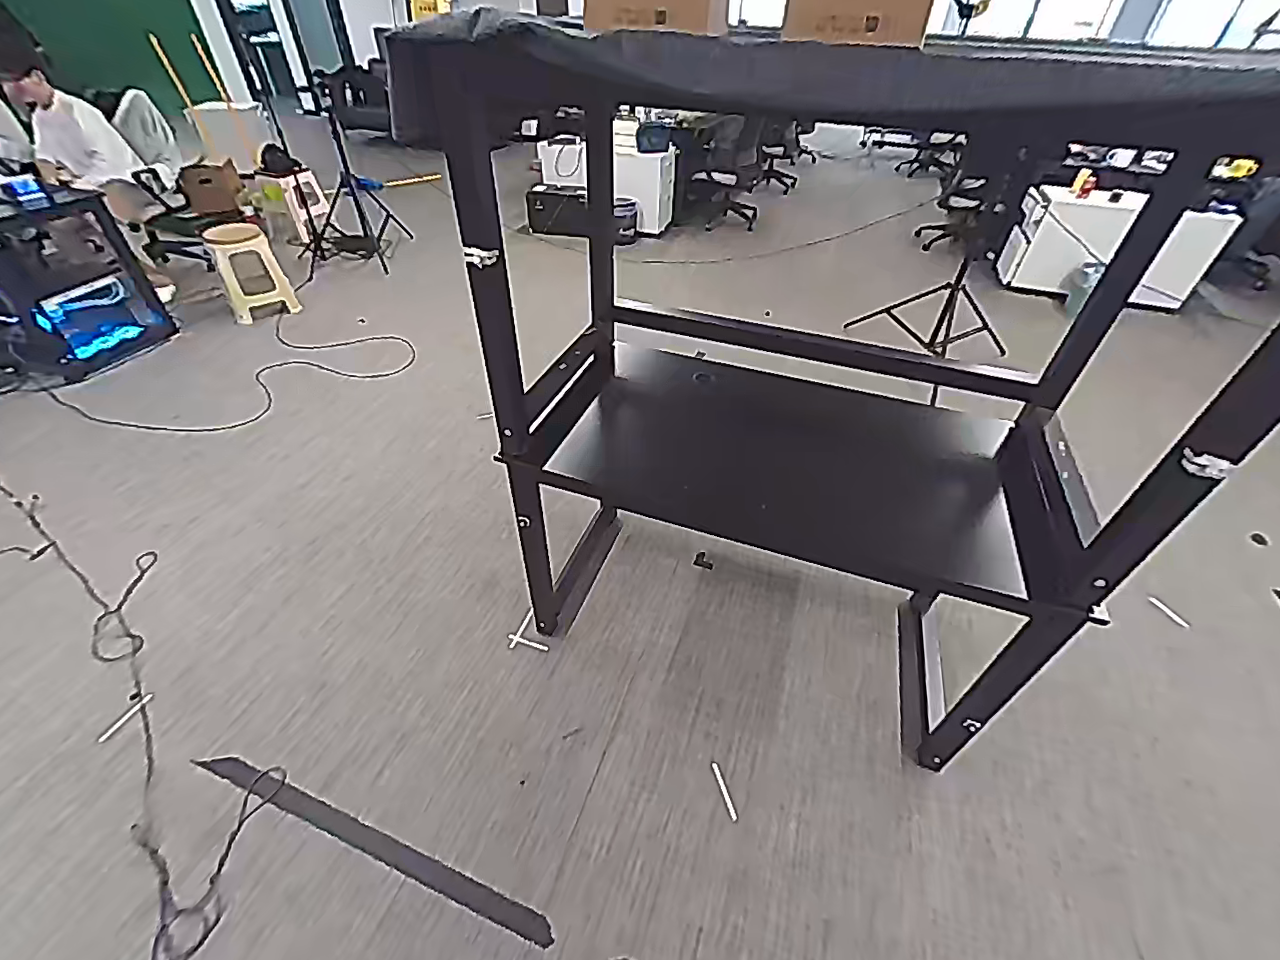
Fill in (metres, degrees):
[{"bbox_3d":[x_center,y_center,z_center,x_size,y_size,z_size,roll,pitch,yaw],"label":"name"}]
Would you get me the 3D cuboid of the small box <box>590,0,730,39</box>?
[{"bbox_3d":[0.033,-0.687,0.703,0.168,0.176,0.179,12,42,10],"label":"small box"}]
